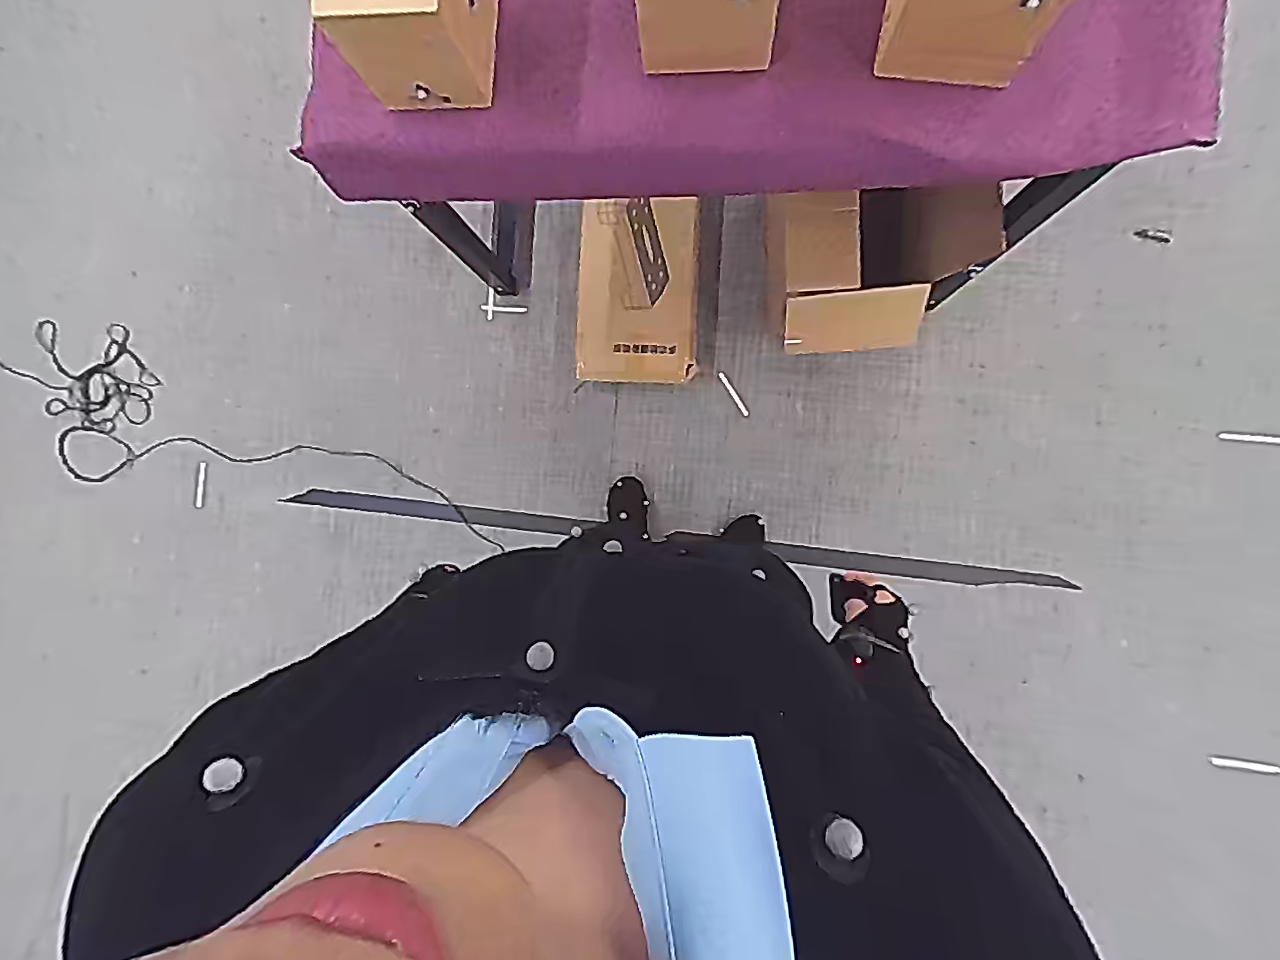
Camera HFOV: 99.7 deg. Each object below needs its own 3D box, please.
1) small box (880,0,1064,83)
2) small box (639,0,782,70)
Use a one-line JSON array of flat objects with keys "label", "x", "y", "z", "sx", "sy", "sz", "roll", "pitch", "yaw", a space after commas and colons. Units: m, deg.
[{"label": "small box", "x": 0.406, "y": -0.614, "z": 0.641, "sx": 0.179, "sy": 0.176, "sz": 0.168, "roll": 10, "pitch": 91, "yaw": 6}, {"label": "small box", "x": 0.092, "y": -0.655, "z": 0.675, "sx": 0.179, "sy": 0.176, "sz": 0.168, "roll": 3, "pitch": 87, "yaw": 7}]
